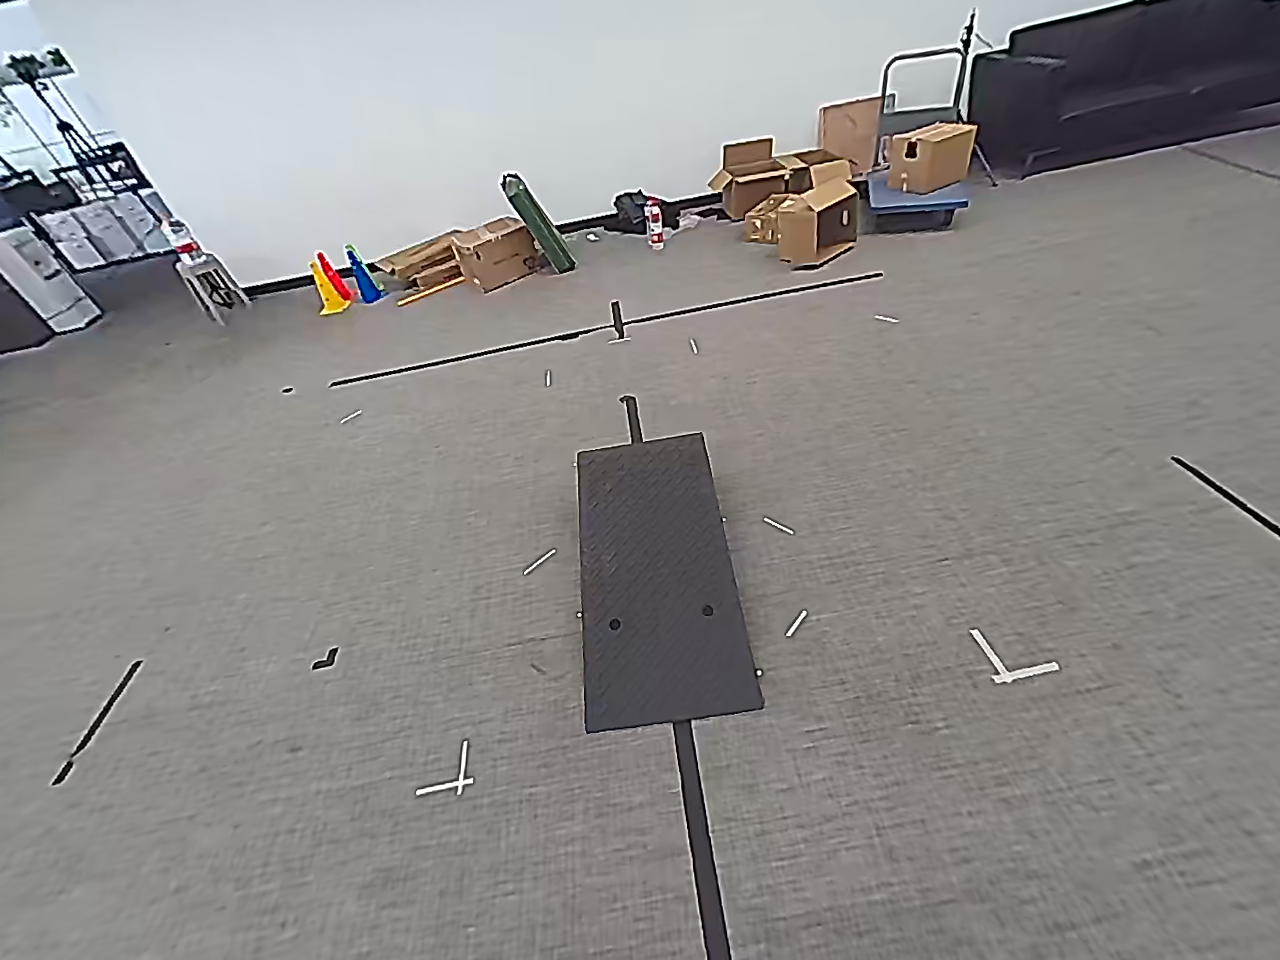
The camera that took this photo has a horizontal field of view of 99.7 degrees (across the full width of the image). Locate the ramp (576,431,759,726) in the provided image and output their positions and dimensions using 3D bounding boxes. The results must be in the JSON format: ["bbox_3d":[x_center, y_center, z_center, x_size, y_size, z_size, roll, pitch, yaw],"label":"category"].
[{"bbox_3d":[0.043,0.247,1.772,0.509,0.206,0.991,-9,43,1],"label":"ramp"}]
